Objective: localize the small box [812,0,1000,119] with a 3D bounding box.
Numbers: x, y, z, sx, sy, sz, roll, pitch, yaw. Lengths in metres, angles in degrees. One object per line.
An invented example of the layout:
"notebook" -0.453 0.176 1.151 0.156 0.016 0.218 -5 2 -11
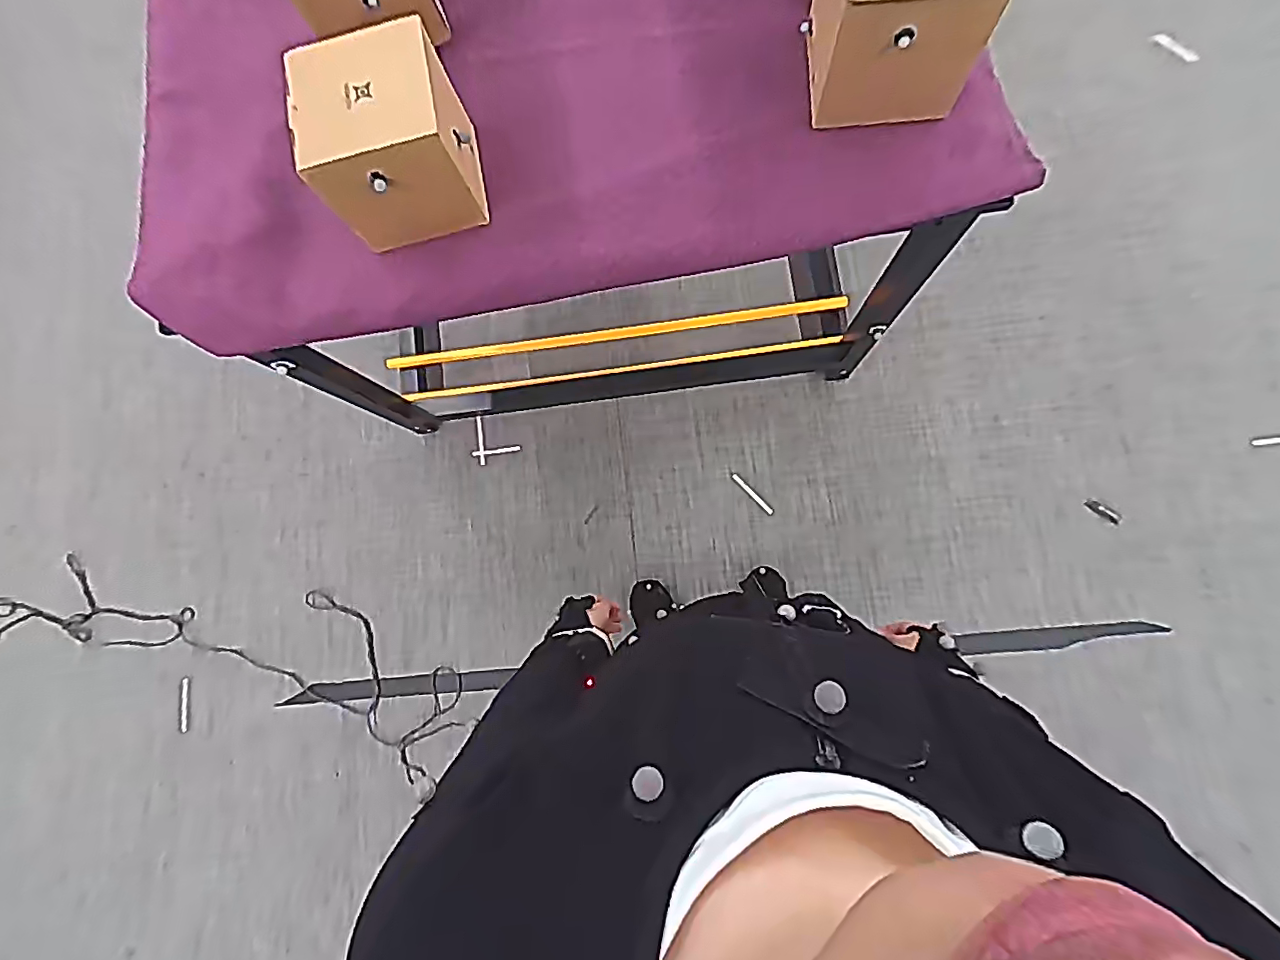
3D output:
"small box" 0.312 -0.576 0.657 0.179 0.176 0.168 -1 81 5

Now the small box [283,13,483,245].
"small box" -0.317 -0.439 0.703 0.179 0.176 0.168 -13 80 4
